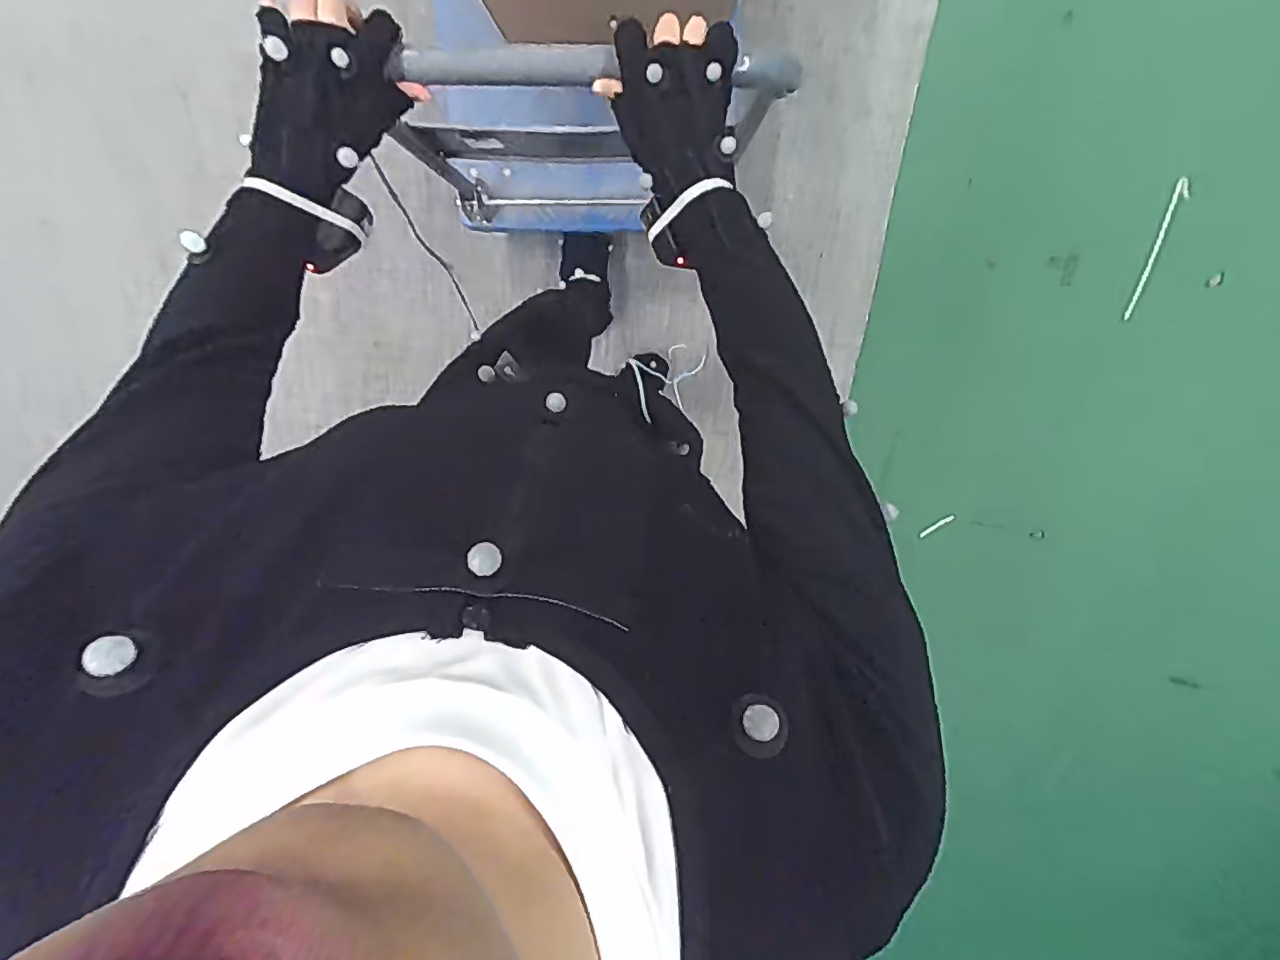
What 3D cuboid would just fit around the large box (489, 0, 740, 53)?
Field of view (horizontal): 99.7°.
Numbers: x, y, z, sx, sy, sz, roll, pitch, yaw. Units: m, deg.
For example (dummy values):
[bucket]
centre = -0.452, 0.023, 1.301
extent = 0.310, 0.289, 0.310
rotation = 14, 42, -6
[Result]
[large box]
centre = -0.039, -0.918, 0.850
extent = 0.408, 0.320, 0.320
rotation = 0, 110, 2
